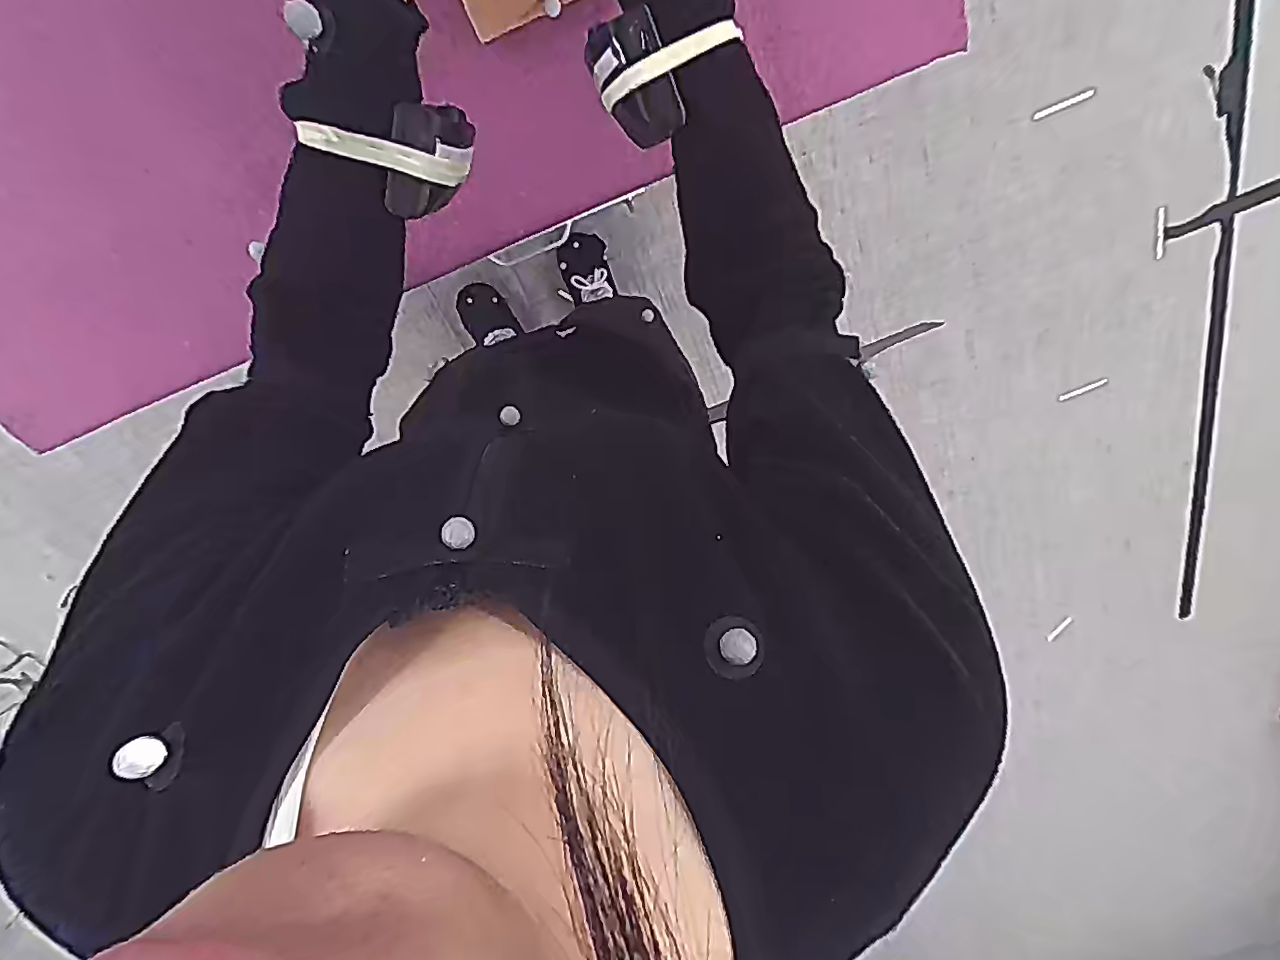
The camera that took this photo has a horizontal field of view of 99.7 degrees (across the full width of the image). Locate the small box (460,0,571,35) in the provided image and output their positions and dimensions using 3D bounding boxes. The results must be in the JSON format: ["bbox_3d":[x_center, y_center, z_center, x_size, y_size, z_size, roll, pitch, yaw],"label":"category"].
[{"bbox_3d":[-0.111,-0.517,0.441,0.168,0.176,0.179,-22,117,3],"label":"small box"}]
